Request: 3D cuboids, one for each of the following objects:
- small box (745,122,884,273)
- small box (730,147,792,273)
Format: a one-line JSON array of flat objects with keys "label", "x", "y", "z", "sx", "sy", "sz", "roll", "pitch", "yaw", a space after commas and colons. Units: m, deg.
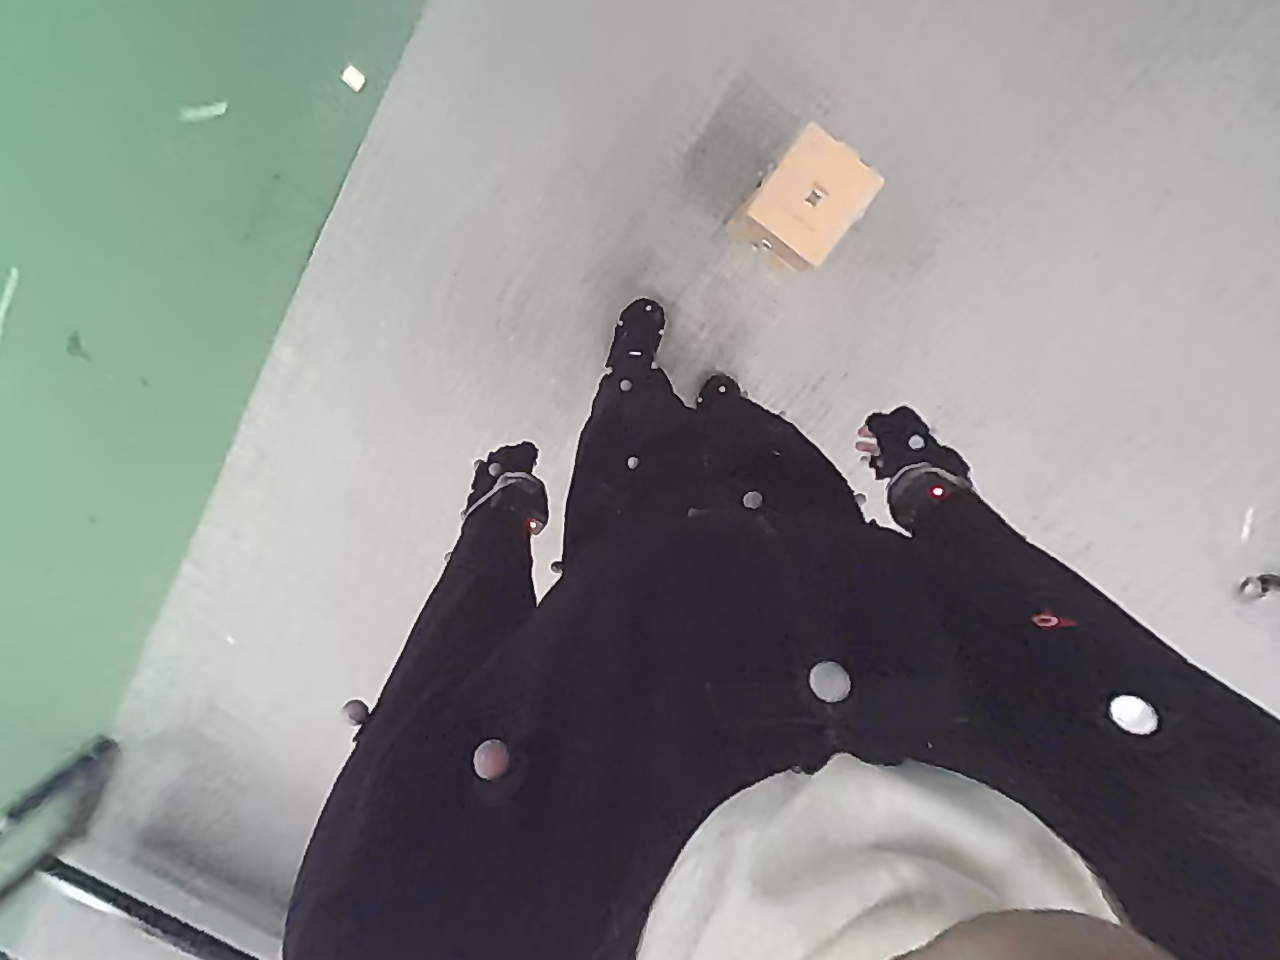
[{"label": "small box", "x": 0.312, "y": -0.515, "z": 1.015, "sx": 0.168, "sy": 0.176, "sz": 0.179, "roll": 36, "pitch": 108, "yaw": -5}, {"label": "small box", "x": 0.311, "y": -0.567, "z": 1.168, "sx": 0.179, "sy": 0.176, "sz": 0.168, "roll": 37, "pitch": 107, "yaw": -7}]
